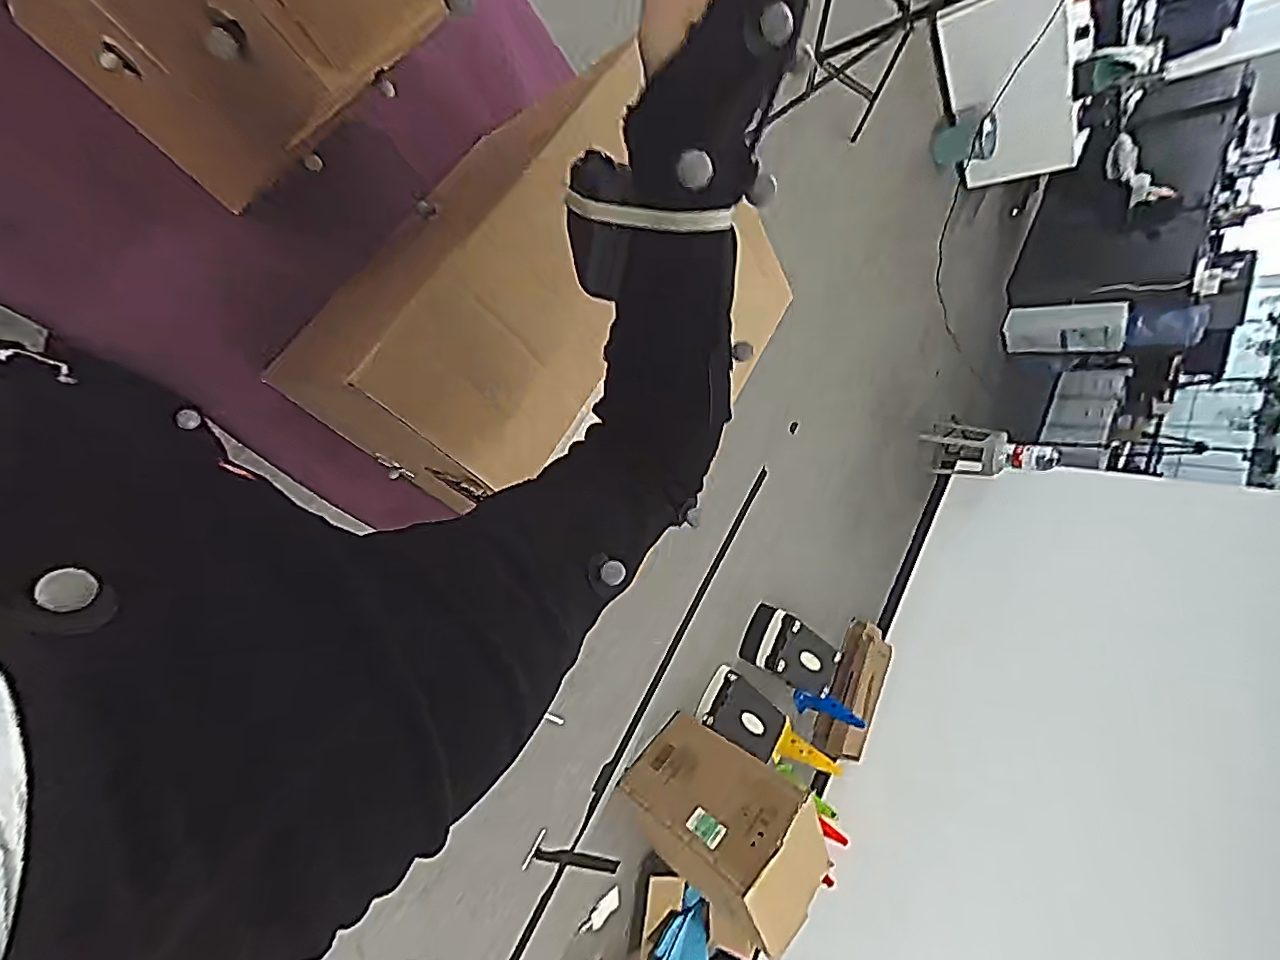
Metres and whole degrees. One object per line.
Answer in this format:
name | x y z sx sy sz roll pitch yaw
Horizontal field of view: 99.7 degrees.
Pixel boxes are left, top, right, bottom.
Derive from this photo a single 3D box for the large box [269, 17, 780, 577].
large box | -0.108 -0.165 0.598 0.320 0.320 0.408 46 66 -41
